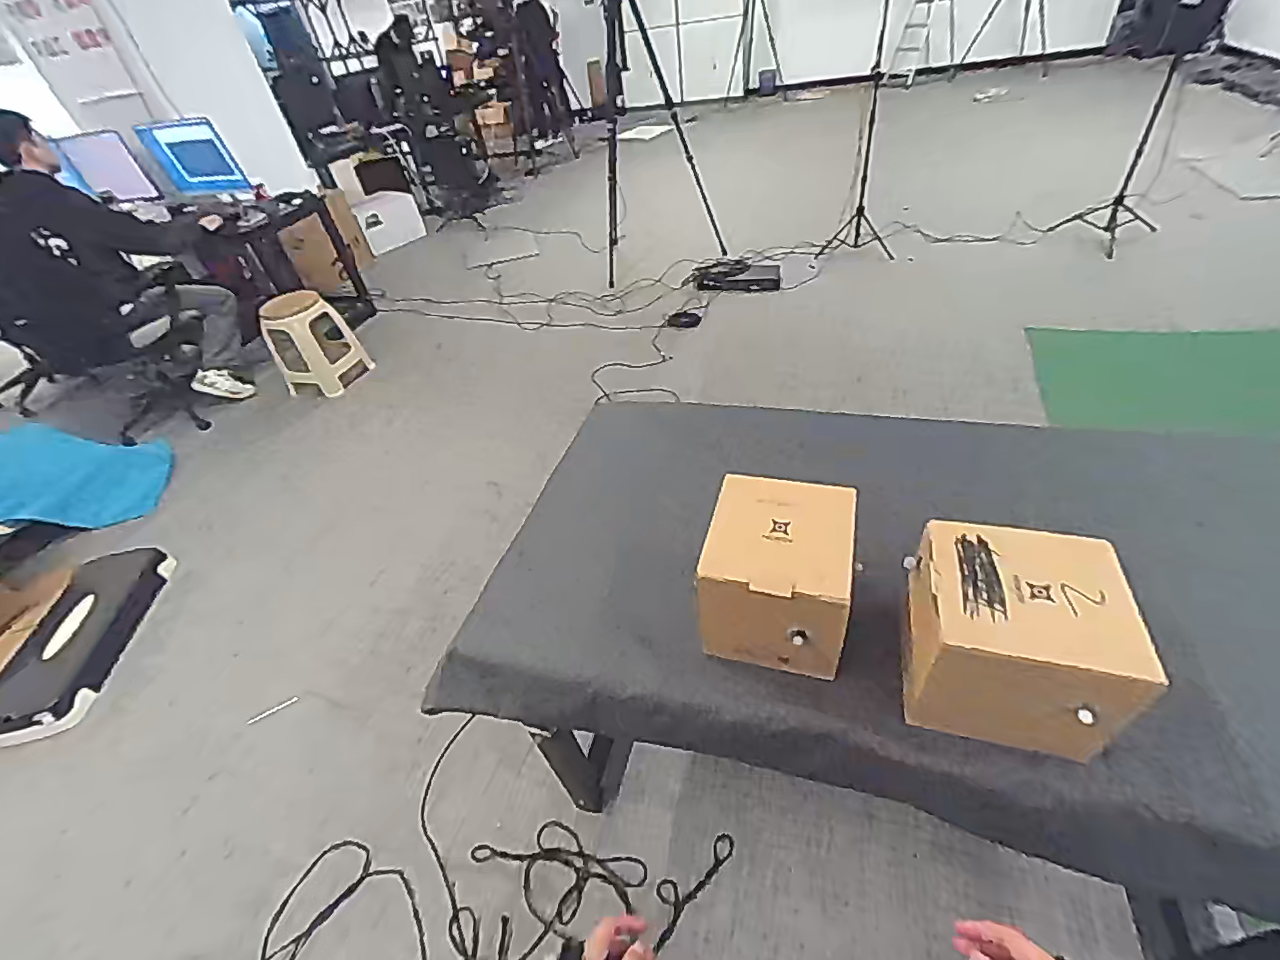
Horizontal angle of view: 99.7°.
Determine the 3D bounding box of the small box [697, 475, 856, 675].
[{"bbox_3d":[0.176,0.119,0.689,0.168,0.176,0.179,7,43,17],"label":"small box"}]
